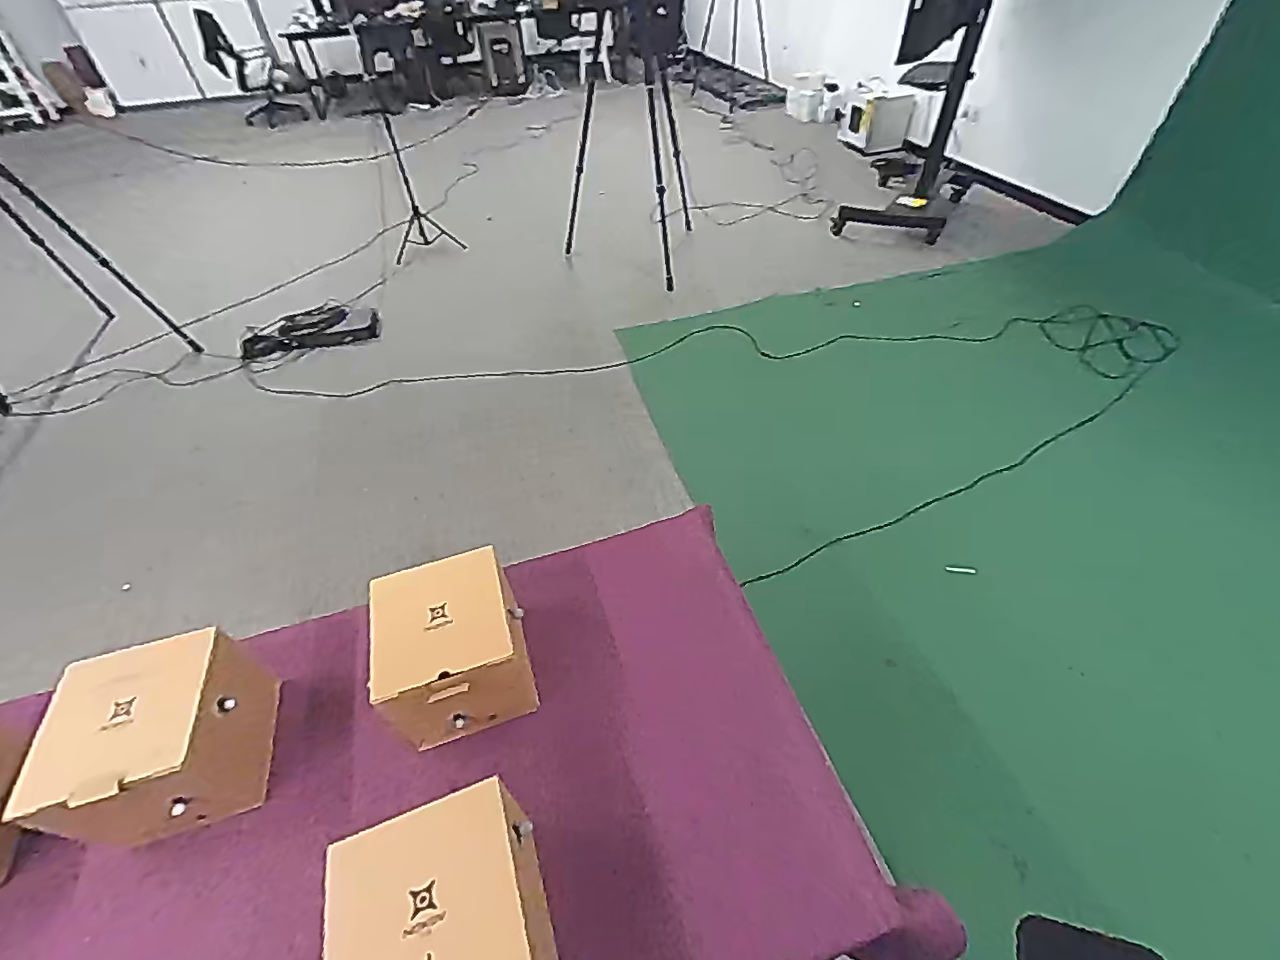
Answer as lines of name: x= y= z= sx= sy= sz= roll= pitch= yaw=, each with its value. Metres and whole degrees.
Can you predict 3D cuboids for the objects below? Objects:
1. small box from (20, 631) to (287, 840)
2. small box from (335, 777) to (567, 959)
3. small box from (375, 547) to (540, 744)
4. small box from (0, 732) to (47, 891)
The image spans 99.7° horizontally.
small box: x=-0.576 y=0.324 z=0.676 sx=0.168 sy=0.176 sz=0.179 roll=-14 pitch=48 yaw=-10
small box: x=-0.177 y=0.438 z=0.531 sx=0.168 sy=0.176 sz=0.179 roll=-18 pitch=45 yaw=-12
small box: x=-0.246 y=0.227 z=0.742 sx=0.168 sy=0.176 sz=0.179 roll=-17 pitch=49 yaw=-11
small box: x=-0.853 y=0.400 z=0.623 sx=0.168 sy=0.176 sz=0.179 roll=-18 pitch=49 yaw=-13
